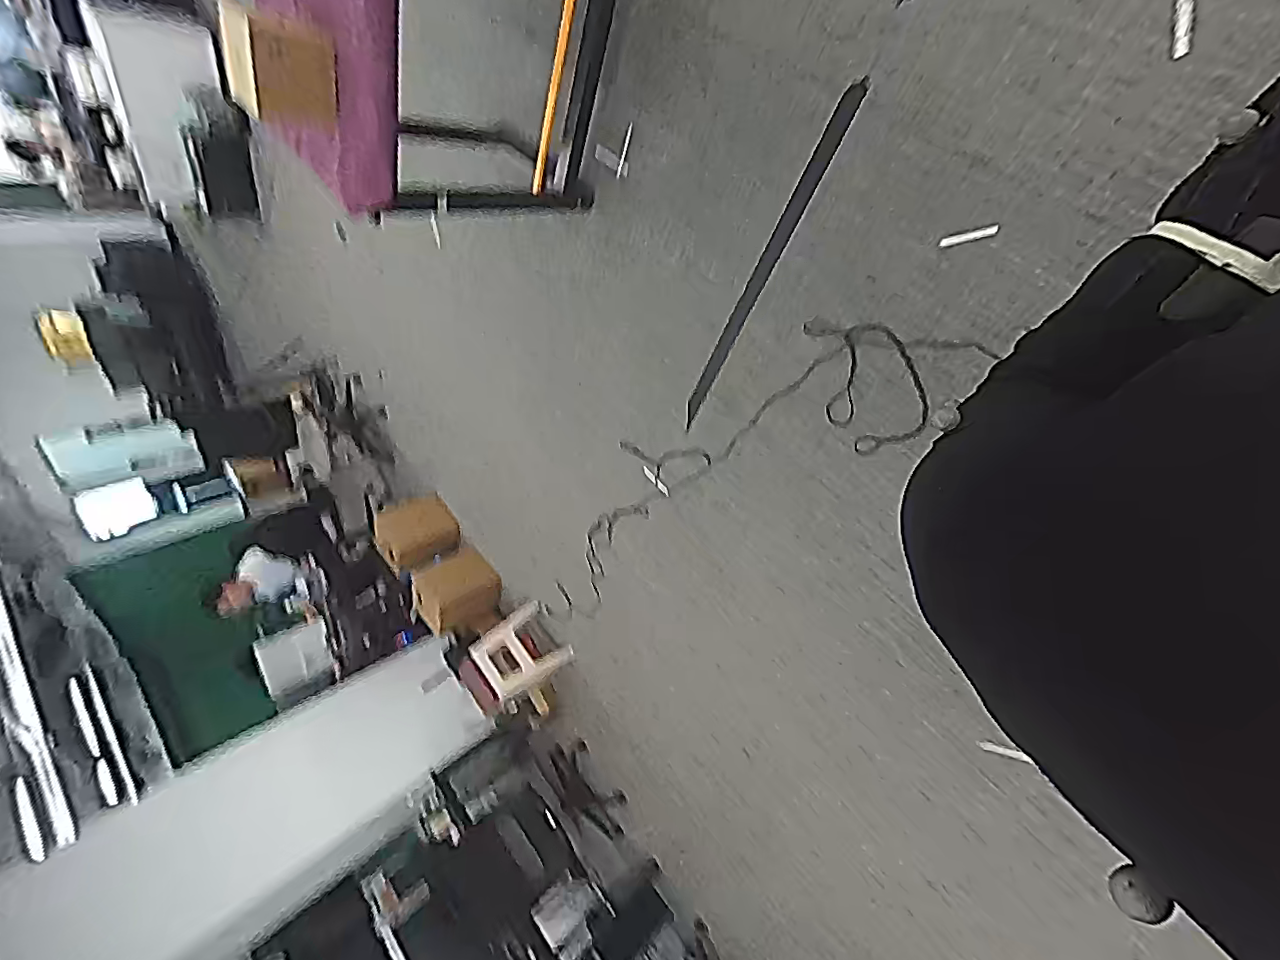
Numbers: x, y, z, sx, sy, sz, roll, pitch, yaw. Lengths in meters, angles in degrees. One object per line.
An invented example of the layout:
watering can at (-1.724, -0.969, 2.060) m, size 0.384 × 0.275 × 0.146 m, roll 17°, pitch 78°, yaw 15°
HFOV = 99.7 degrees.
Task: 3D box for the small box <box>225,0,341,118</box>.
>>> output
small box at (-0.797, -0.952, 1.218) m, size 0.168 × 0.176 × 0.179 m, roll 44°, pitch 133°, yaw 23°
